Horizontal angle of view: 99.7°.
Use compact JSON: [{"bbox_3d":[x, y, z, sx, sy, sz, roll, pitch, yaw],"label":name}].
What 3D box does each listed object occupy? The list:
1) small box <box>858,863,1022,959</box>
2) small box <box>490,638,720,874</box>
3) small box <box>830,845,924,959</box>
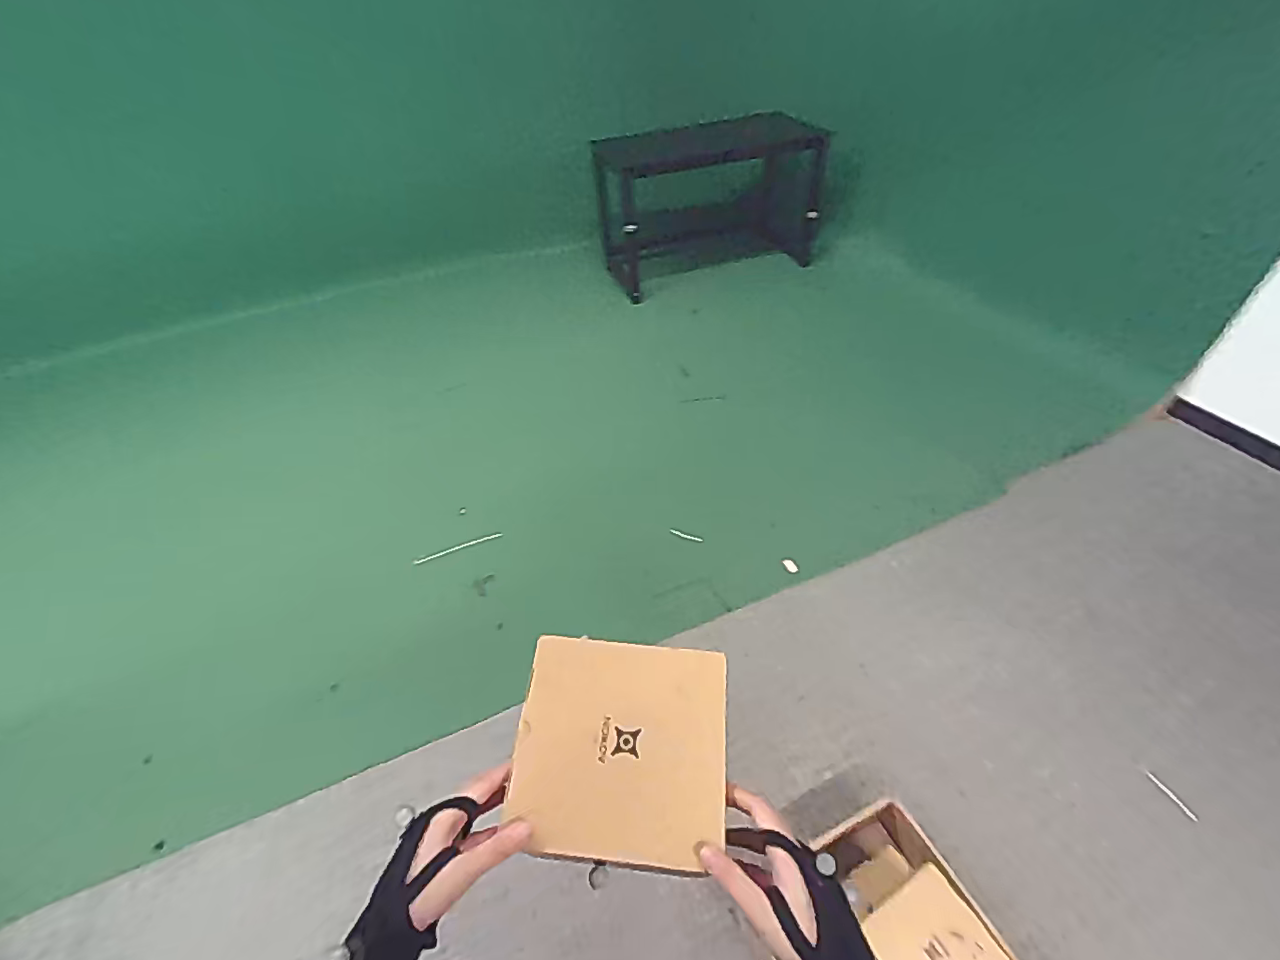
[{"bbox_3d":[0.487,0.785,0.899,0.179,0.176,0.168,-26,50,-16],"label":"small box"},{"bbox_3d":[-0.020,0.266,0.517,0.179,0.176,0.168,3,54,5],"label":"small box"},{"bbox_3d":[0.497,0.861,1.053,0.168,0.176,0.179,-25,49,-15],"label":"small box"}]
